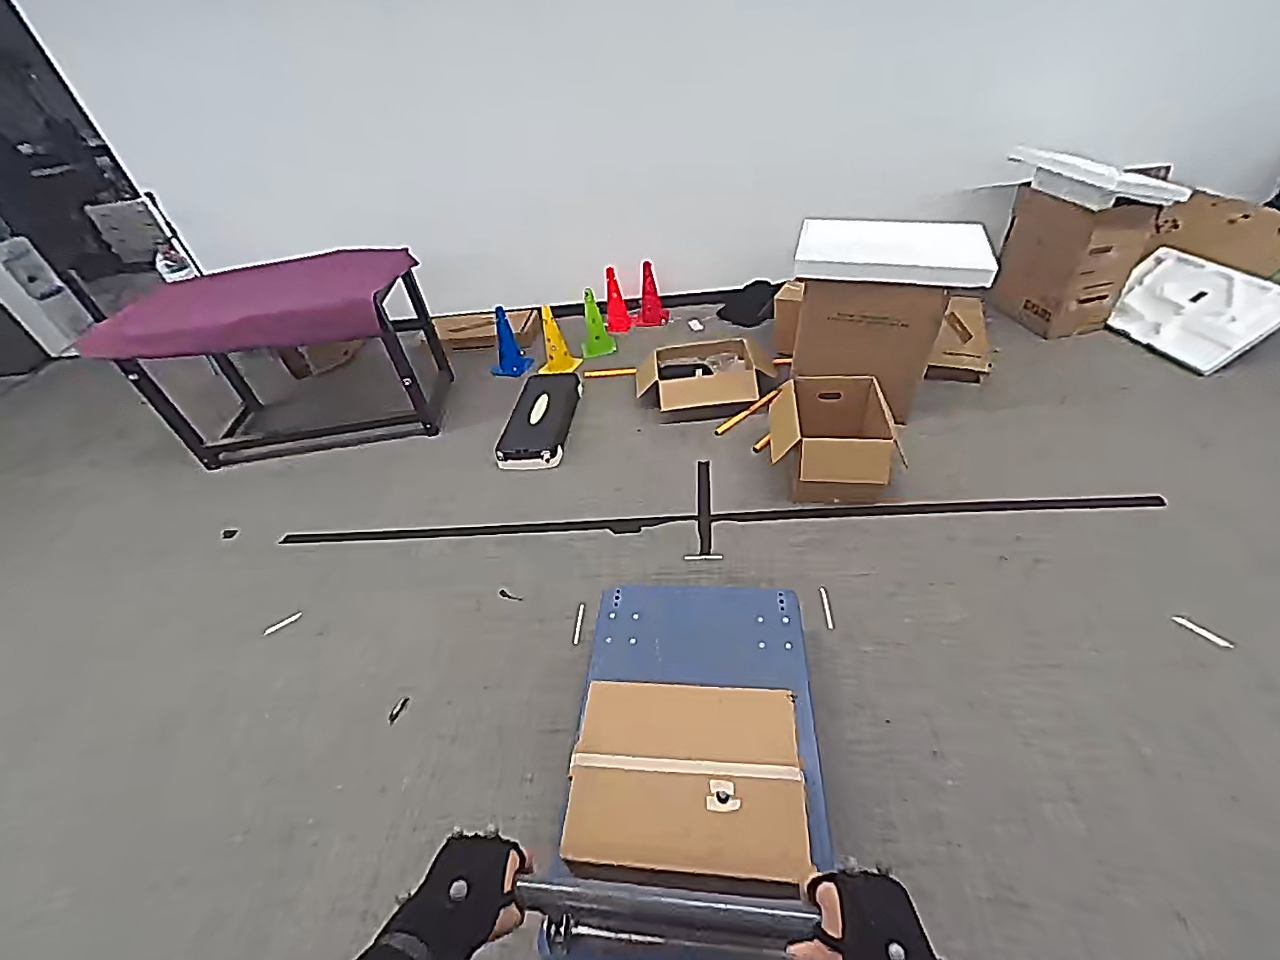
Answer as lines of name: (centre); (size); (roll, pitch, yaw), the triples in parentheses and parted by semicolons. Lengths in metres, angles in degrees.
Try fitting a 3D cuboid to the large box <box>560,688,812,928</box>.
large box: (0.091, 0.632, 1.051); (0.408, 0.320, 0.320); (0, 42, 8)
